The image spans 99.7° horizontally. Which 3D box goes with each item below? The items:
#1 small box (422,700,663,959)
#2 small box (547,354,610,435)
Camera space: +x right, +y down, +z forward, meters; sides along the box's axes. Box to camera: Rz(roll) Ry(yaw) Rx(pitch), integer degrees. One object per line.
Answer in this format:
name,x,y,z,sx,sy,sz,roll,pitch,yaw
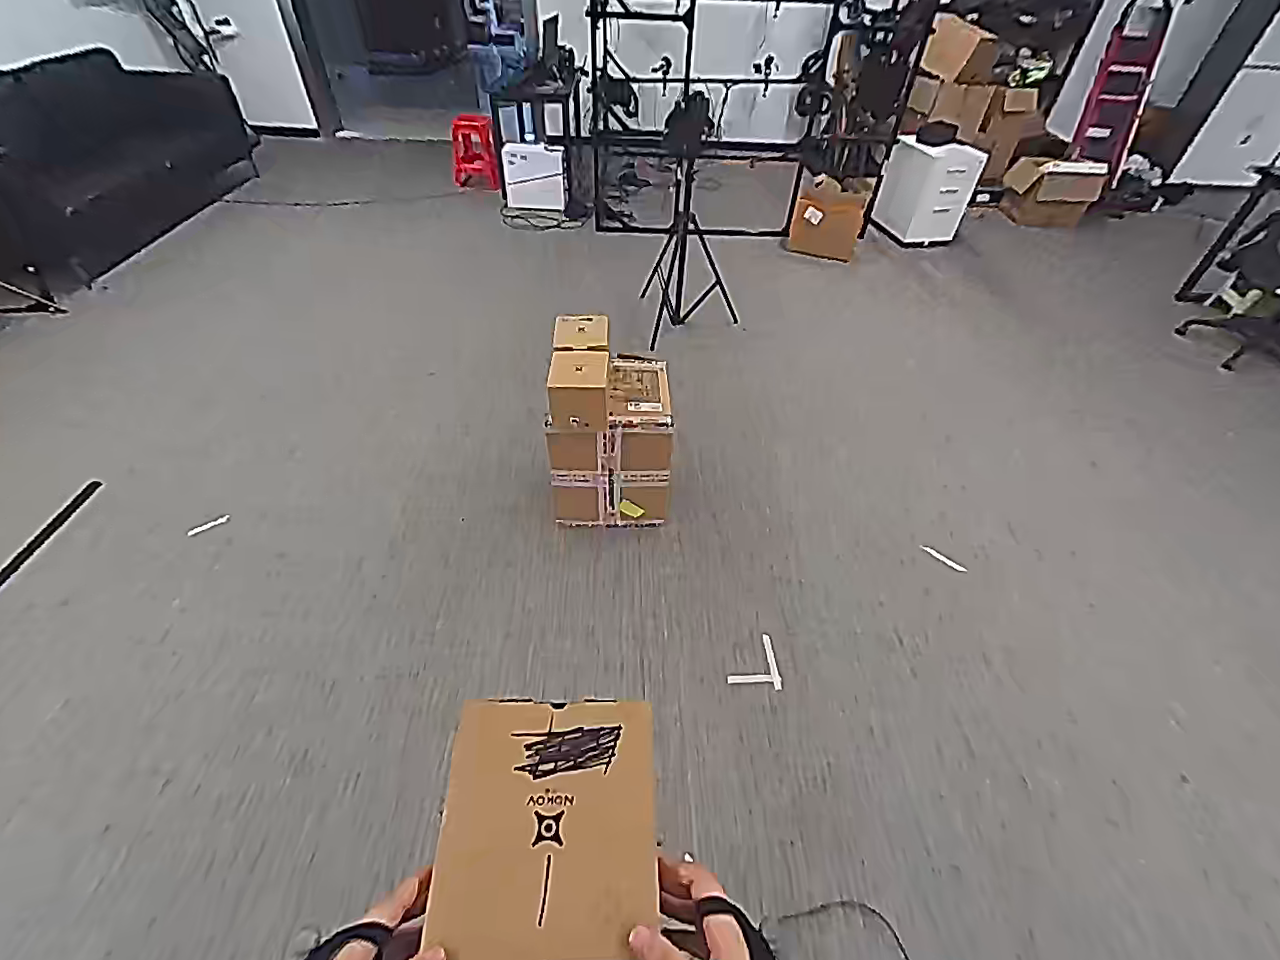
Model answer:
small box,-0.073,0.312,0.478,0.168,0.176,0.179,2,50,-4
small box,-0.175,-0.254,1.602,0.168,0.176,0.179,0,48,0
